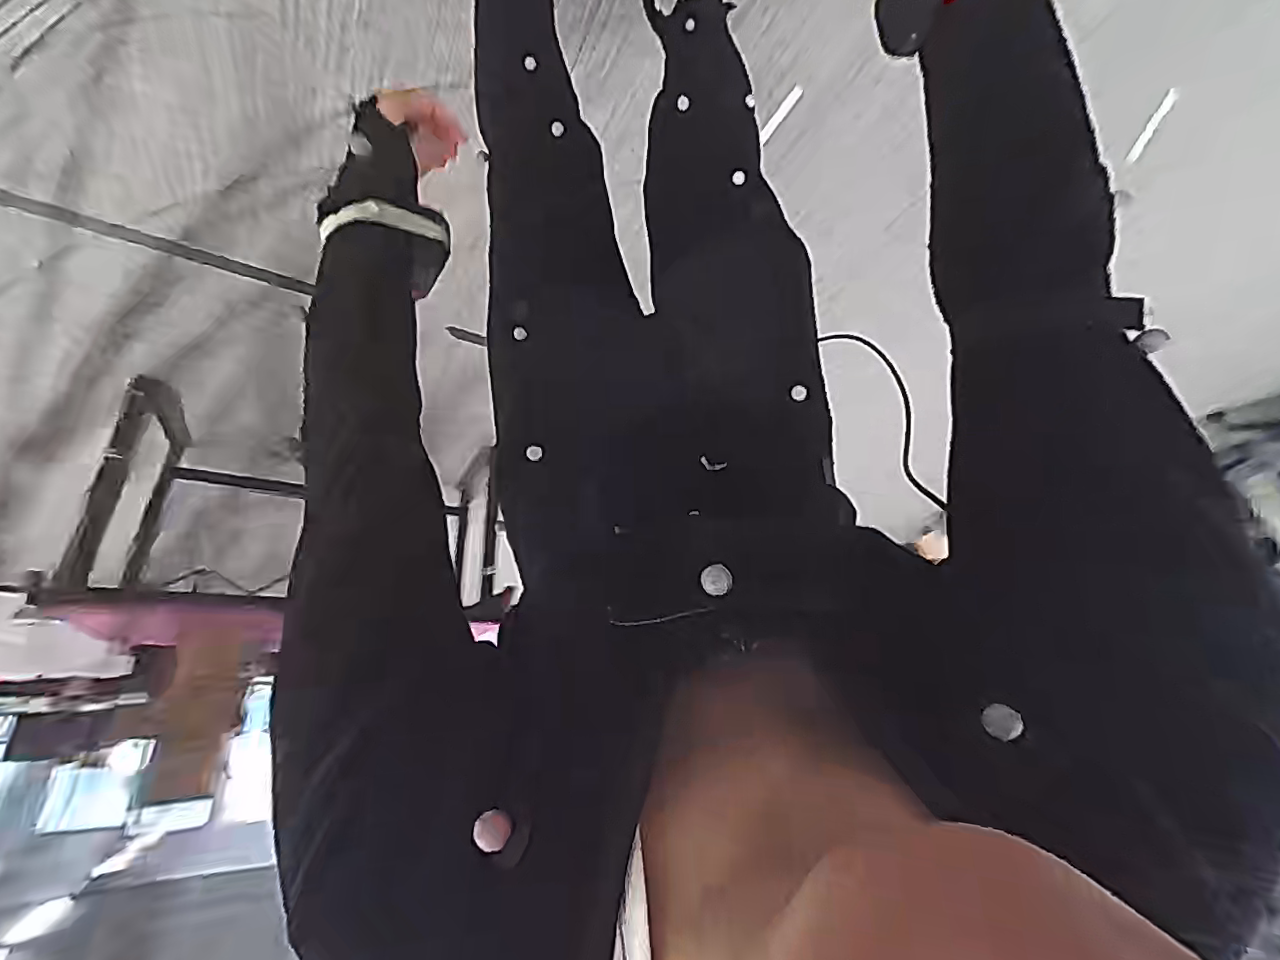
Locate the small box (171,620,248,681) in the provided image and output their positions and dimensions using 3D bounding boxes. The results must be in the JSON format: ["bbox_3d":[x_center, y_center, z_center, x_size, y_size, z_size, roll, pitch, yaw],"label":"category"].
[{"bbox_3d":[-1.387,0.554,1.746,0.168,0.176,0.179,13,152,-35],"label":"small box"}]

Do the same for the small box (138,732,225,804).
[{"bbox_3d":[-1.366,0.853,1.615,0.168,0.176,0.179,16,152,-35],"label":"small box"}]
